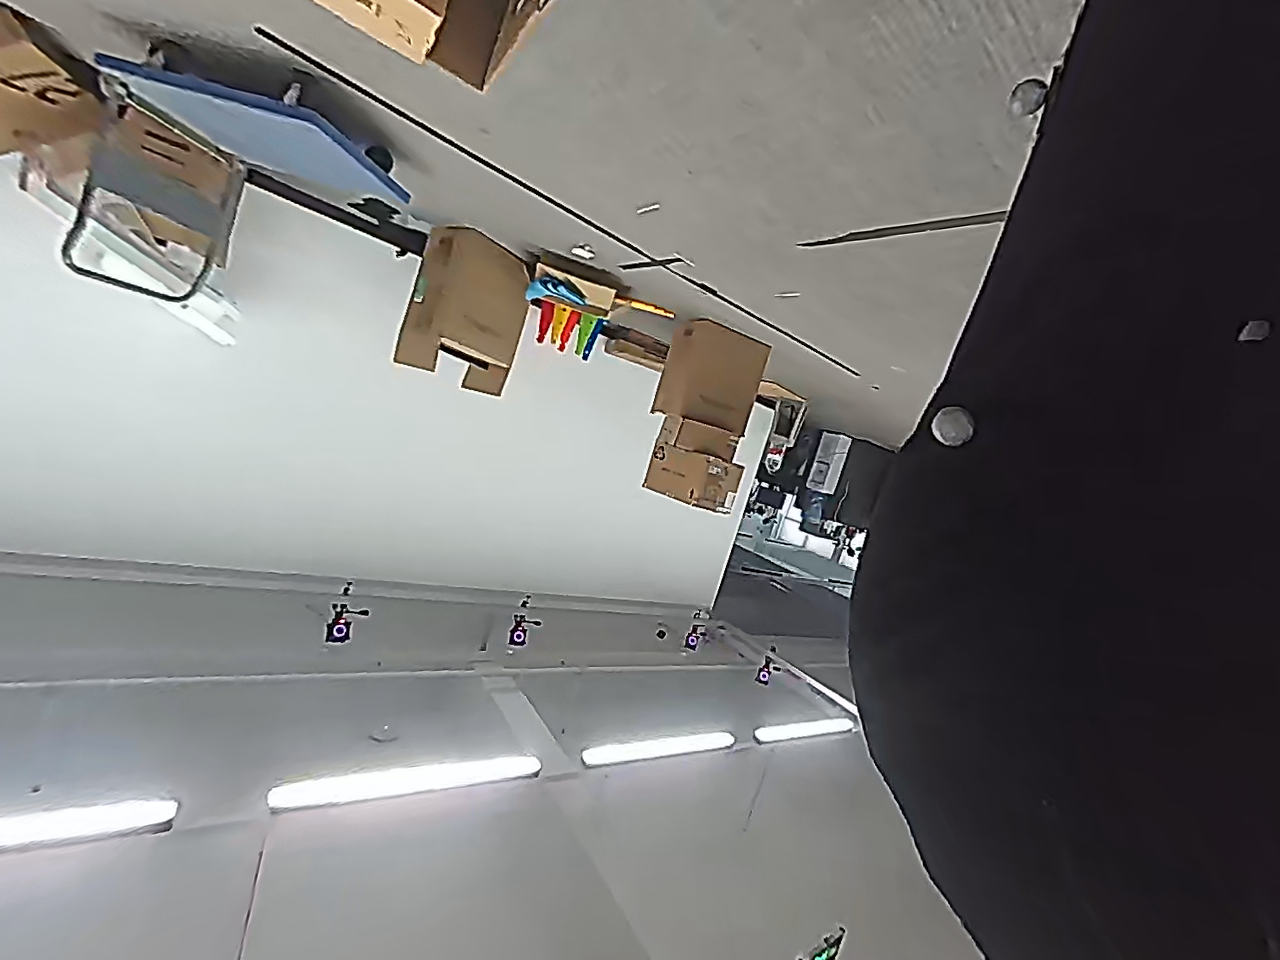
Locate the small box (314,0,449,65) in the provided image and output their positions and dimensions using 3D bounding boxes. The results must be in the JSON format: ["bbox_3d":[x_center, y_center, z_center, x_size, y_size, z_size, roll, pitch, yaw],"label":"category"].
[{"bbox_3d":[-0.365,-0.766,0.778,0.179,0.176,0.168,14,-174,-34],"label":"small box"}]
